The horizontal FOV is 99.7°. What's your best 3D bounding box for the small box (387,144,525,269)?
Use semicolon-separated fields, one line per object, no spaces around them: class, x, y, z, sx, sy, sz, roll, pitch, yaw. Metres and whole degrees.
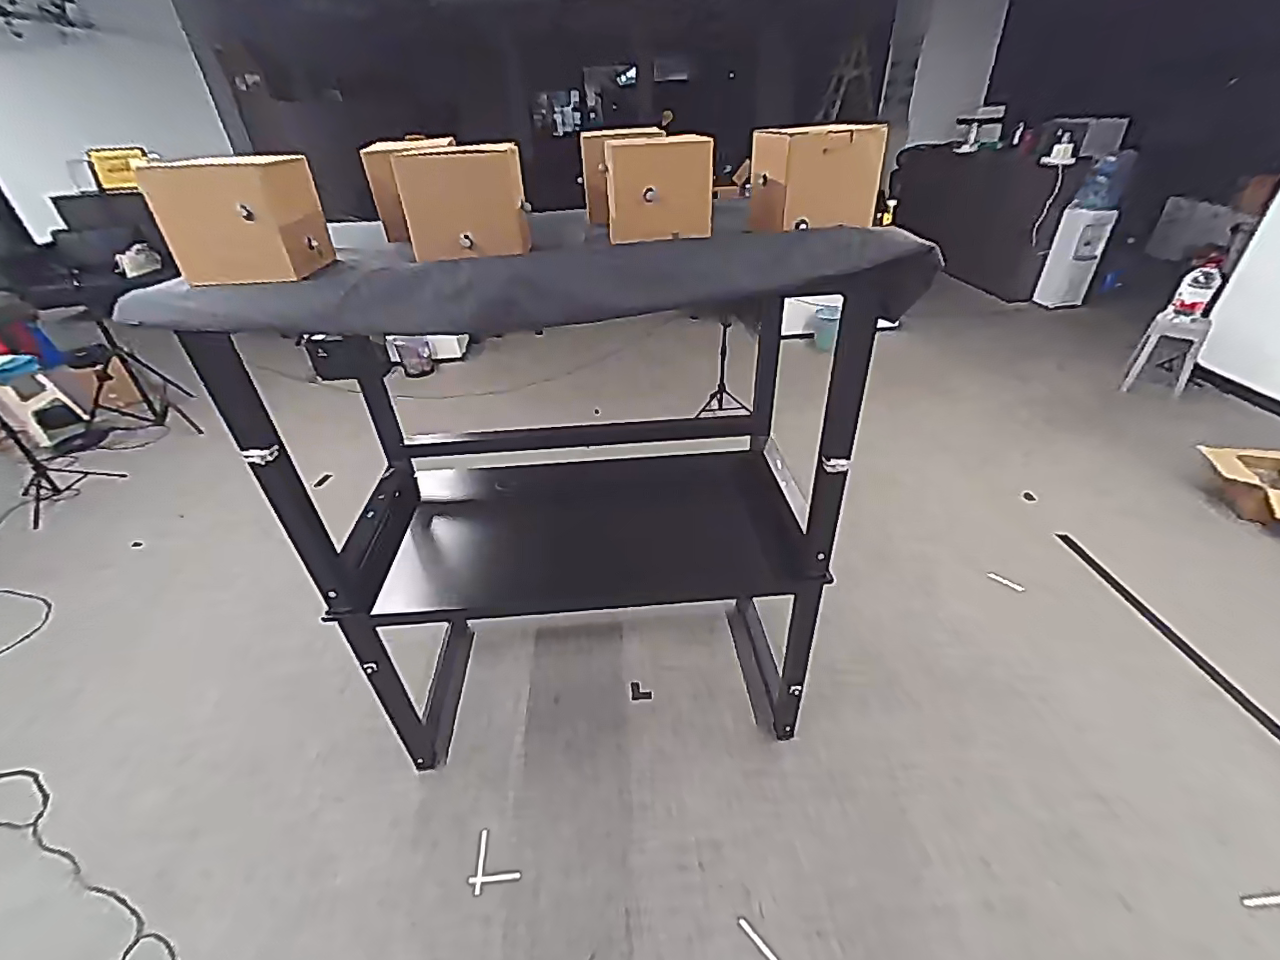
small box;-0.296;-0.466;0.918;0.179;0.176;0.168;-5;33;-3

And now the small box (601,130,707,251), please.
small box;0.023;-0.510;0.957;0.168;0.176;0.179;-6;34;-4

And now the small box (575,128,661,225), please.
small box;-0.043;-0.668;1.189;0.179;0.176;0.168;-5;35;-2

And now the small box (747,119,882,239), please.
small box;0.297;-0.532;0.959;0.168;0.176;0.179;-8;34;-6

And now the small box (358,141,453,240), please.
small box;-0.472;-0.618;1.155;0.168;0.176;0.179;-10;35;-7
